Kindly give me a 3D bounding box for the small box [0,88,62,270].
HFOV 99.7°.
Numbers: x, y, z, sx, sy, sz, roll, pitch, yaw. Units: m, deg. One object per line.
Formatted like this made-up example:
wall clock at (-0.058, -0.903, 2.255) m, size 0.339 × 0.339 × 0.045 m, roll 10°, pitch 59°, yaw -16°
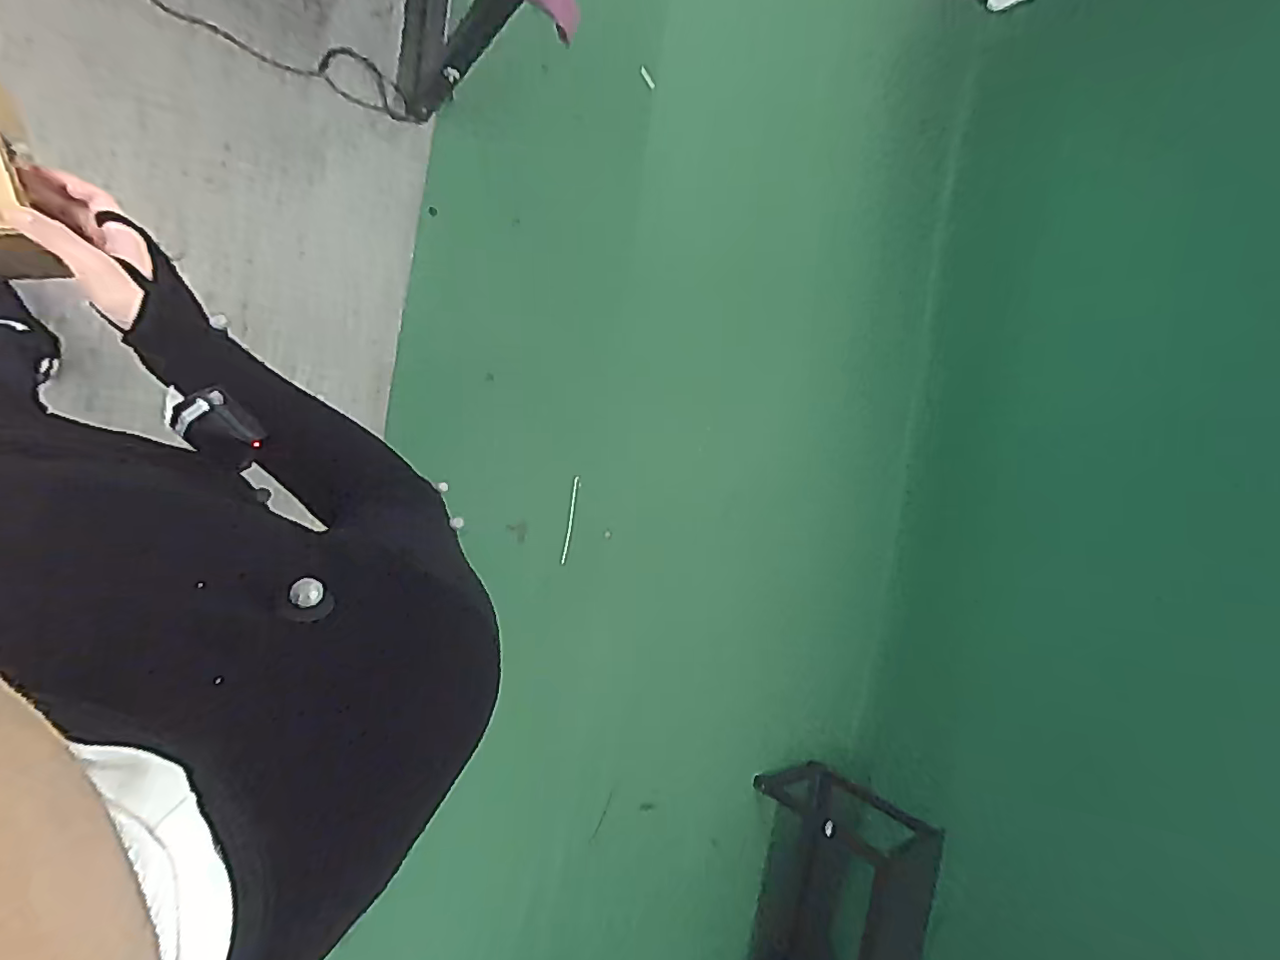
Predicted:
small box at (-0.593, -0.262, 0.408) m, size 0.168 × 0.176 × 0.179 m, roll -18°, pitch 106°, yaw -35°
